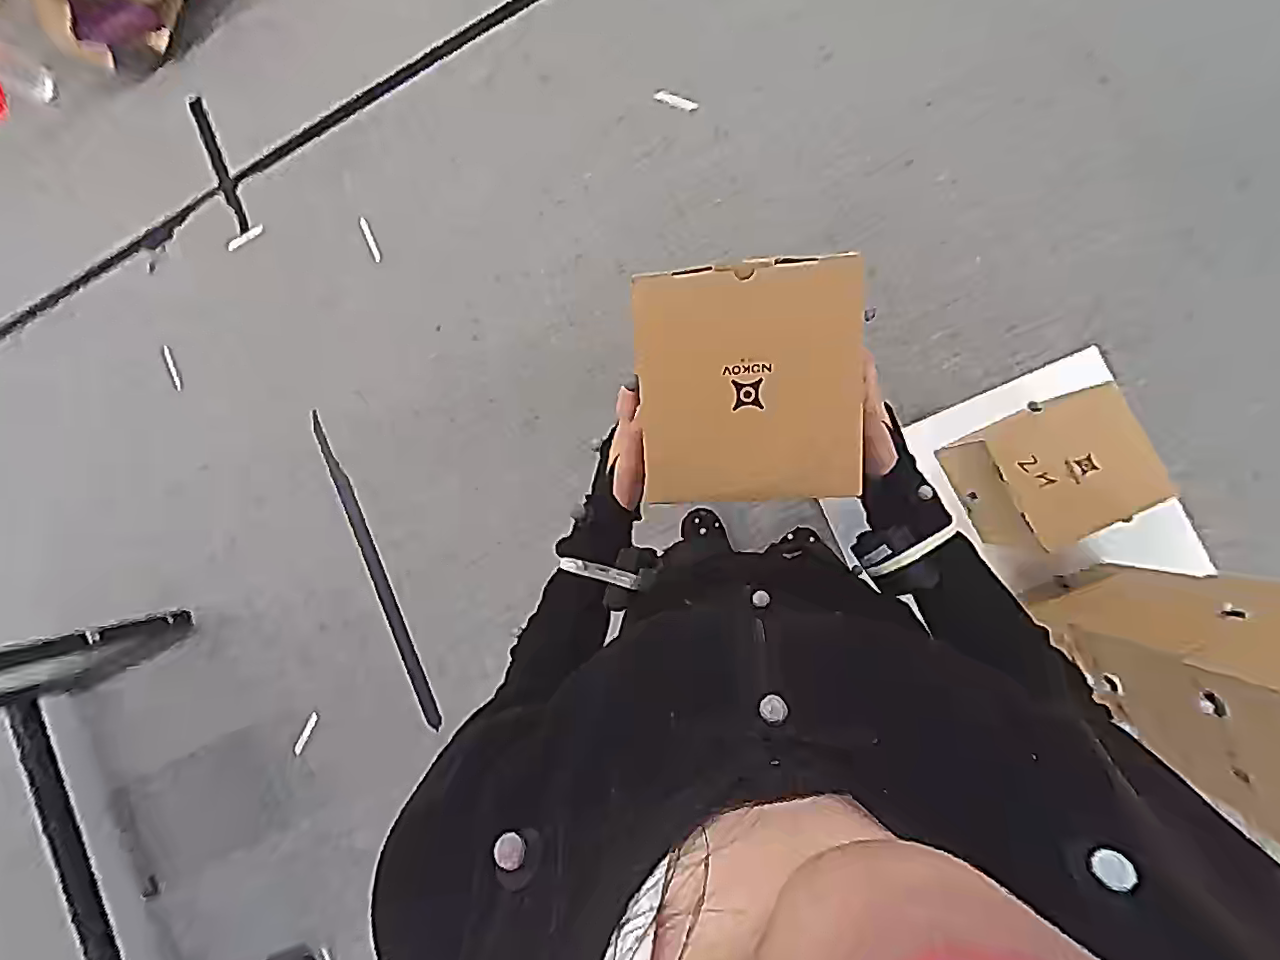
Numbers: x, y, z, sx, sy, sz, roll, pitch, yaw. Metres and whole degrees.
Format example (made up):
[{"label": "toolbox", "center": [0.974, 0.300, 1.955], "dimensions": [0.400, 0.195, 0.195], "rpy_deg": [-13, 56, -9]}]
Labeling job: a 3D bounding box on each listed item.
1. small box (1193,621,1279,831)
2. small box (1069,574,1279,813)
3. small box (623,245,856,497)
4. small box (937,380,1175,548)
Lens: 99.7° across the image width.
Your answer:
[{"label": "small box", "center": [0.608, 0.208, 0.425], "dimensions": [0.179, 0.176, 0.168], "rpy_deg": [-21, 84, 5]}, {"label": "small box", "center": [0.633, 0.212, 0.587], "dimensions": [0.179, 0.176, 0.168], "rpy_deg": [-23, 83, 7]}, {"label": "small box", "center": [0.085, -0.092, 0.476], "dimensions": [0.168, 0.176, 0.179], "rpy_deg": [-3, 102, 8]}, {"label": "small box", "center": [0.569, -0.019, 0.768], "dimensions": [0.179, 0.176, 0.168], "rpy_deg": [-26, 85, 7]}]
